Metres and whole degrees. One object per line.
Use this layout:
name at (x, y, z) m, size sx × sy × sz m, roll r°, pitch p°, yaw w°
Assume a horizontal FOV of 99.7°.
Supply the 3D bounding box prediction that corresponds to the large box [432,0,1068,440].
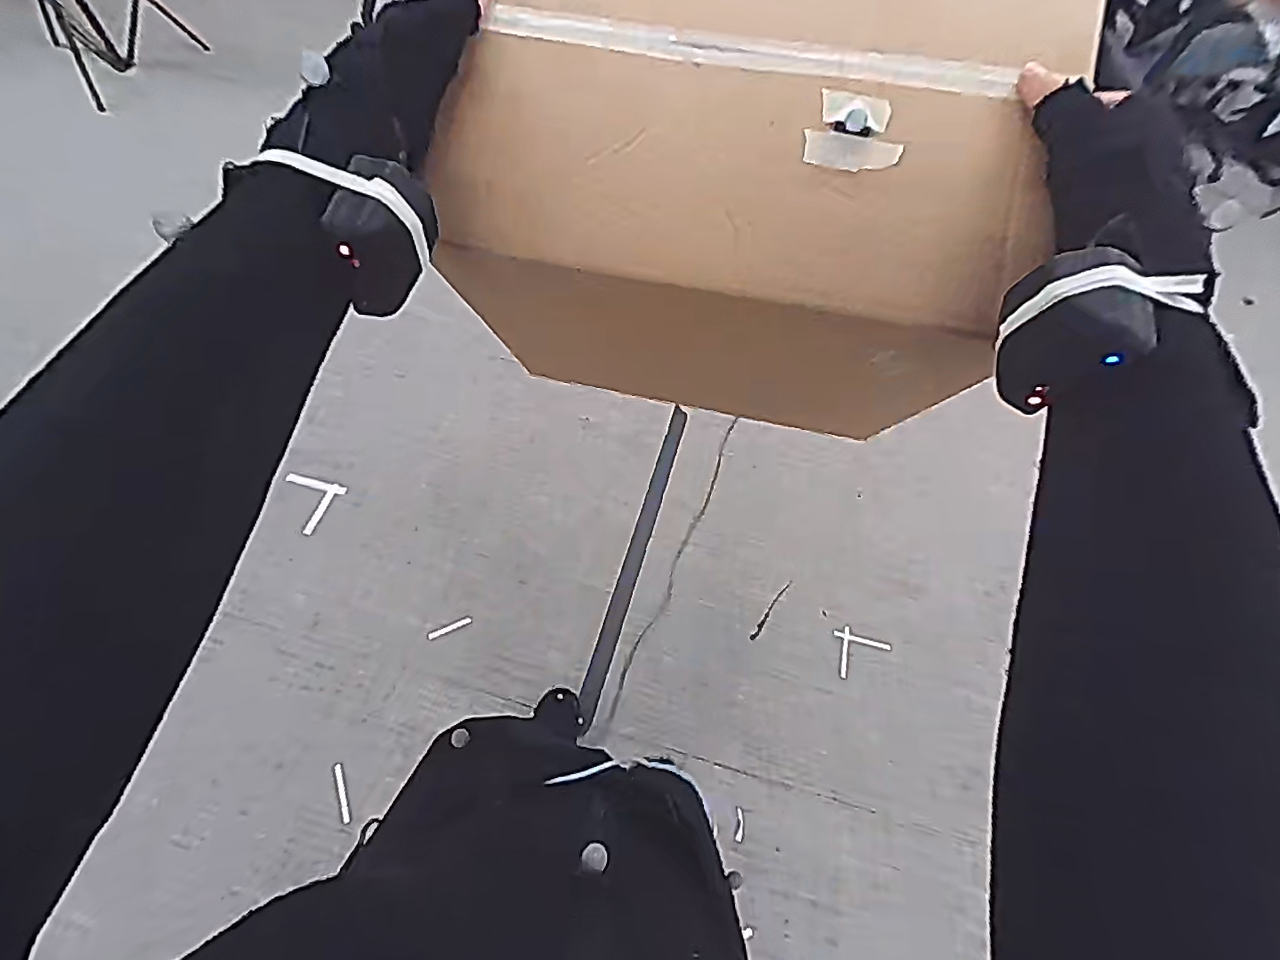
large box at (0.082, -0.244, 0.520) m, size 0.408 × 0.320 × 0.320 m, roll 12°, pitch 86°, yaw 4°
